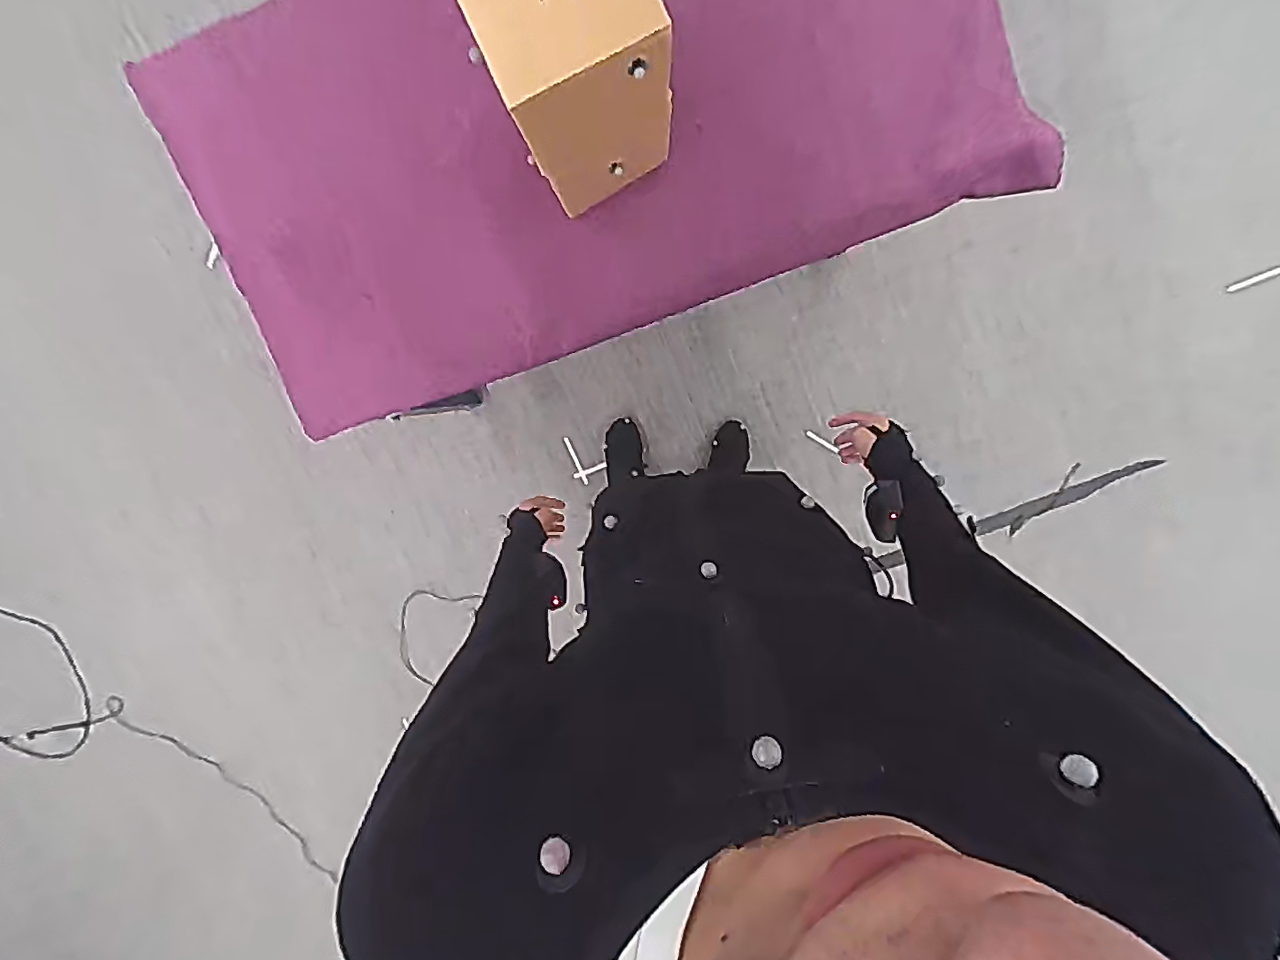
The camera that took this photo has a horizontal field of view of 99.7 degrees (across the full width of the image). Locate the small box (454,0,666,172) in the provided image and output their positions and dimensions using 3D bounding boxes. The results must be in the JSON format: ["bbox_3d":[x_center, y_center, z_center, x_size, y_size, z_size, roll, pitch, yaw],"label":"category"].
[{"bbox_3d":[-0.082,-0.474,0.585,0.179,0.176,0.168,-24,98,4],"label":"small box"}]
